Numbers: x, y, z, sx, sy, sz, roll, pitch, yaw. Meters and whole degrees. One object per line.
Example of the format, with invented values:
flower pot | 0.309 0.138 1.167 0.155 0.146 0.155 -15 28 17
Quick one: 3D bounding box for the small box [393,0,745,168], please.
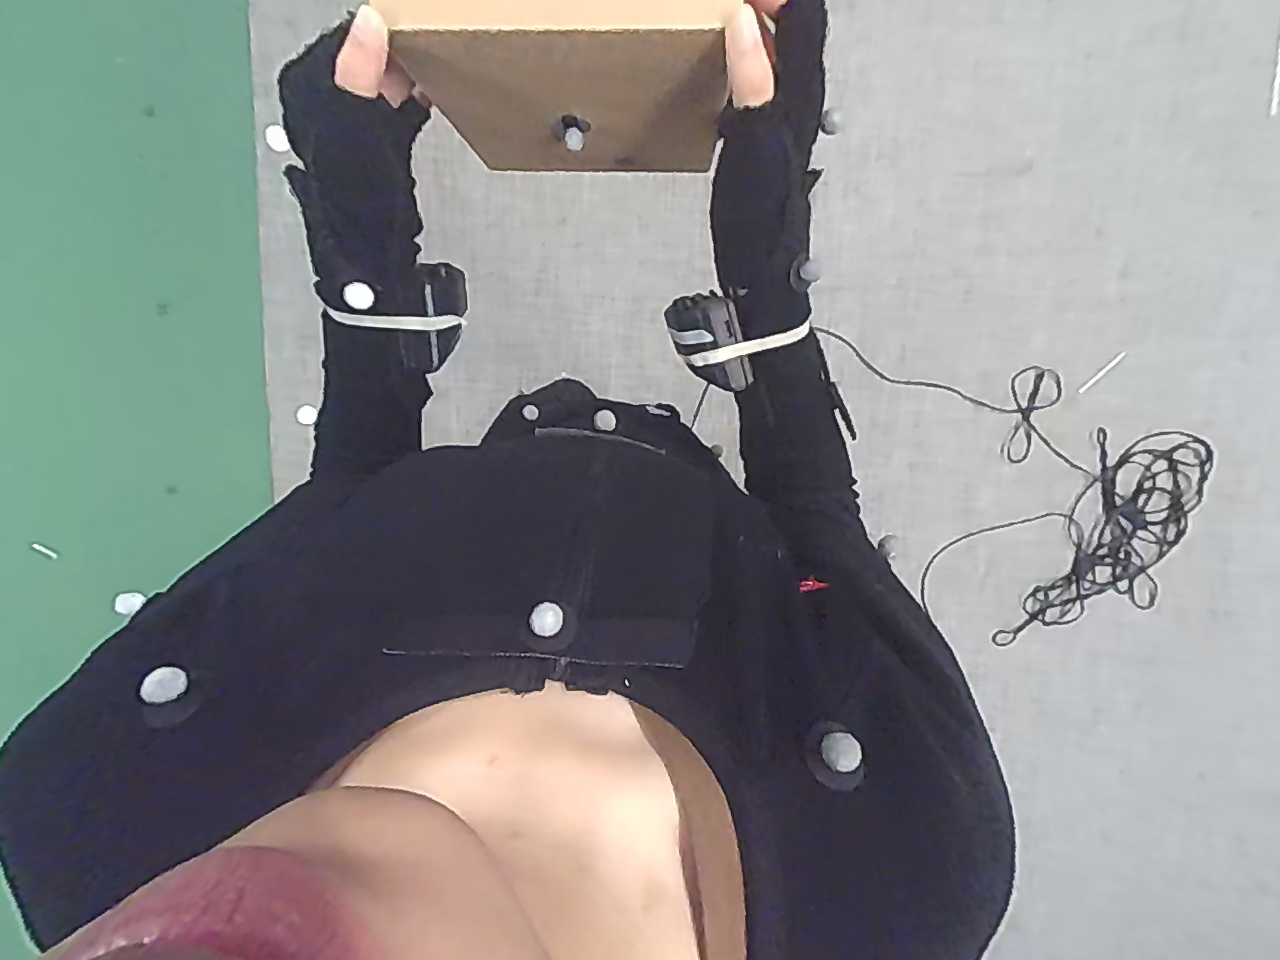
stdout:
small box | -0.028 -0.301 0.312 0.168 0.176 0.179 1 100 2
